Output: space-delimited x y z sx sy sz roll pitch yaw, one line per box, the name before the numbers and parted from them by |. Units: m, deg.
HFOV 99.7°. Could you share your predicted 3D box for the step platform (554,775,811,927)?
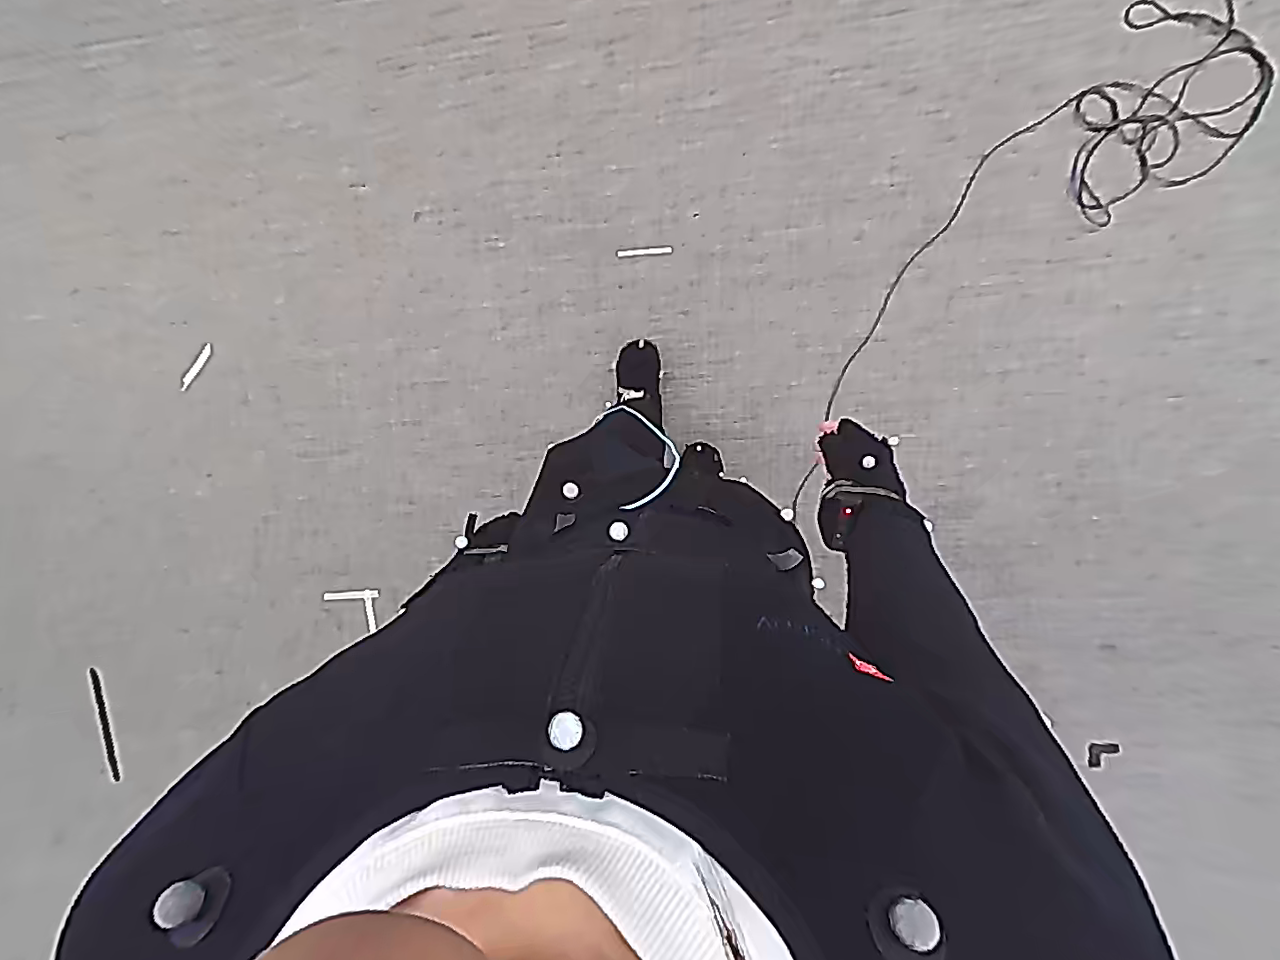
step platform | 0.110 0.998 1.470 0.684 0.204 0.286 -3 97 9
